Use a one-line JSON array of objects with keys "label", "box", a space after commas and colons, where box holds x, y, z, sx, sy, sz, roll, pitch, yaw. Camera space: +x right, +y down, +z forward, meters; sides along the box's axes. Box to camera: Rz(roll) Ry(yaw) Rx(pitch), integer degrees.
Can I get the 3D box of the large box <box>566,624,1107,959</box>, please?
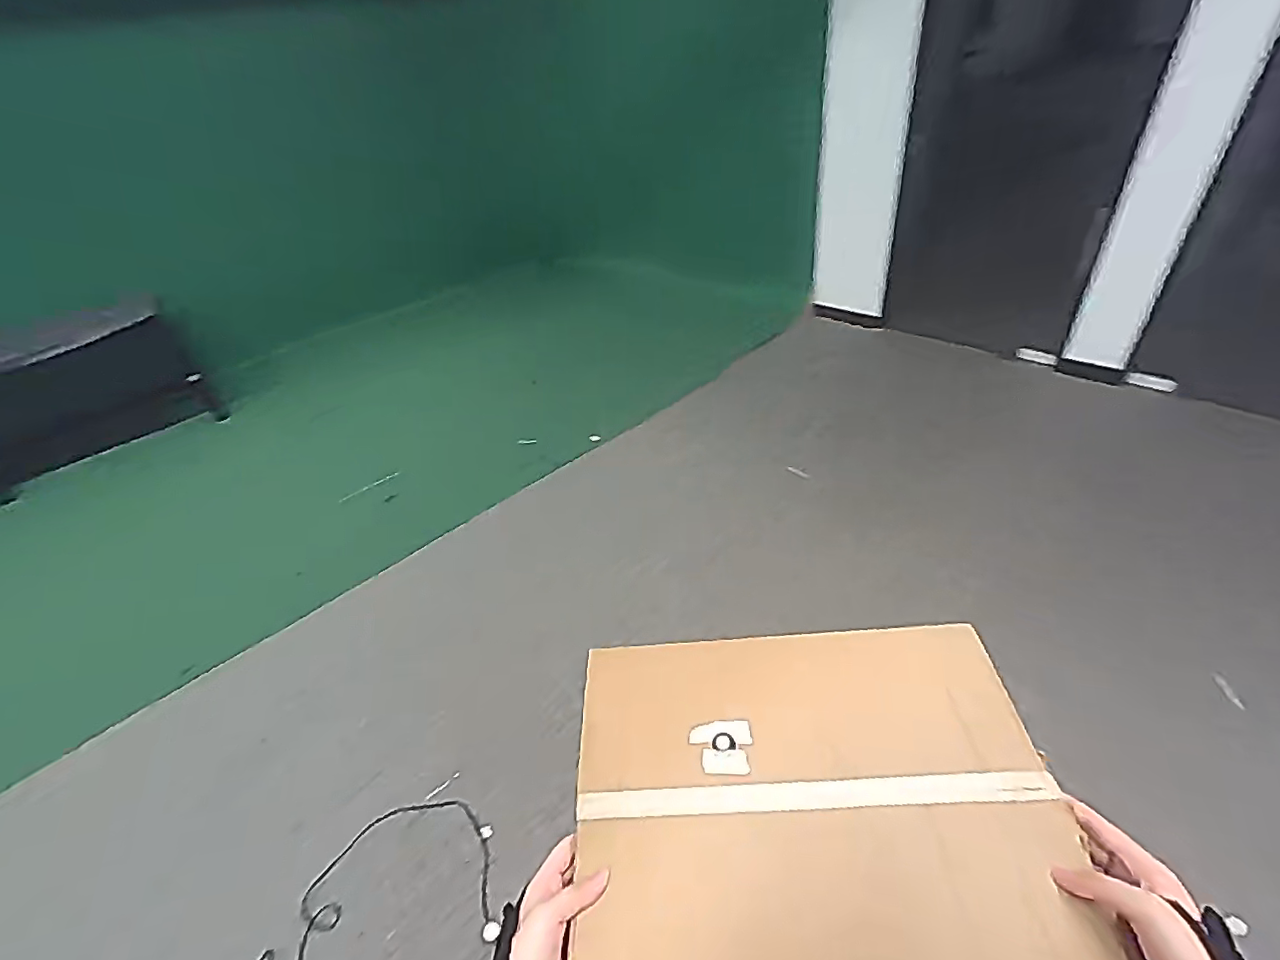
[{"label": "large box", "box": [0.159, 0.389, 0.587, 0.408, 0.320, 0.320, -8, 44, 6]}]
